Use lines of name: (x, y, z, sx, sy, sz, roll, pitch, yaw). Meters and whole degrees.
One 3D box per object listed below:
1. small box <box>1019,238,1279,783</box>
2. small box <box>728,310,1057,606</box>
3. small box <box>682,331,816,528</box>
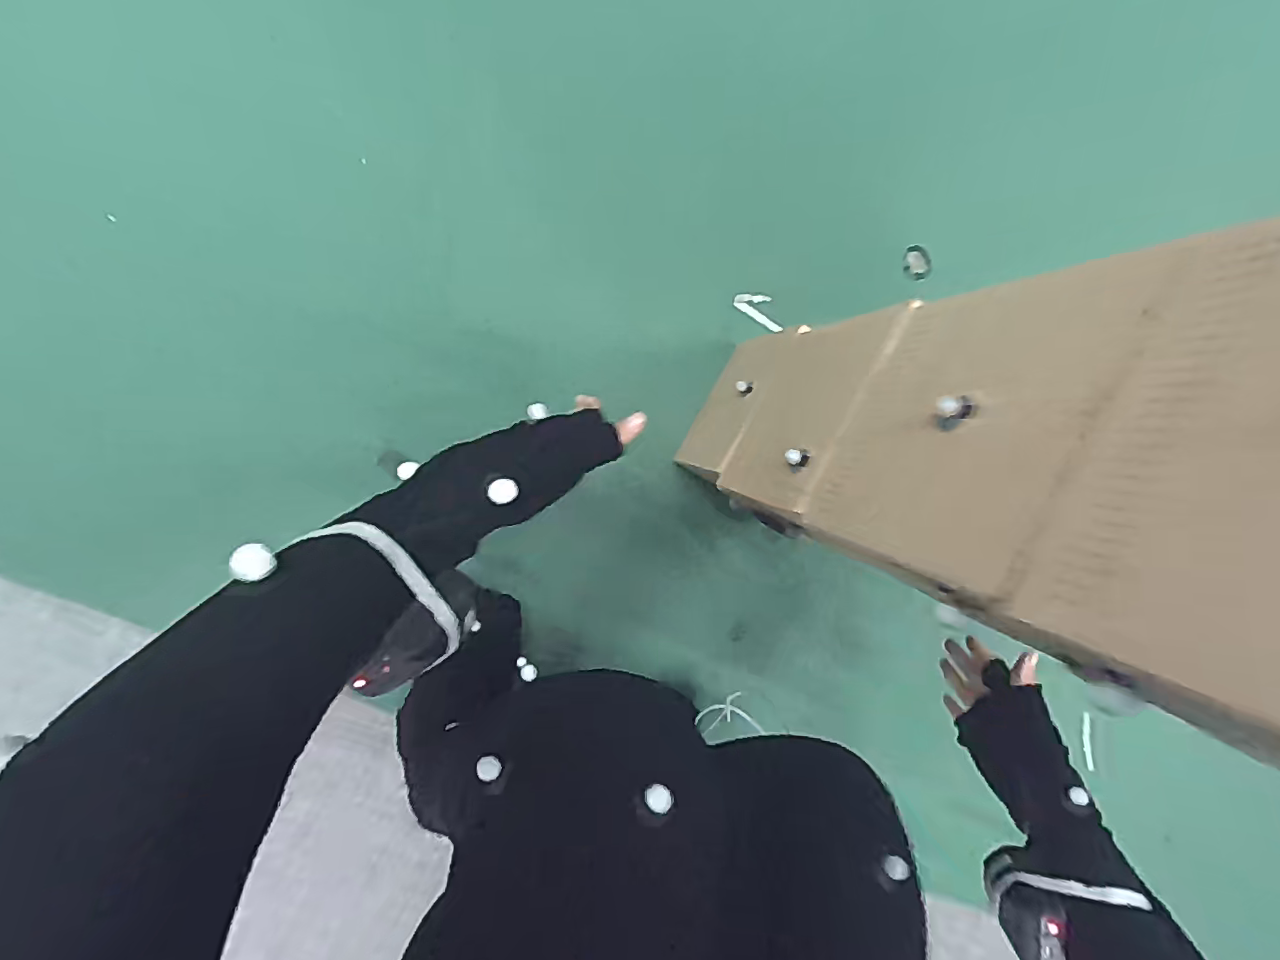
small box: (0.267, 0.029, 0.164, 0.168, 0.176, 0.179, 28, 90, -15)
small box: (0.203, -0.022, 0.483, 0.168, 0.176, 0.179, 27, 92, -15)
small box: (0.171, -0.050, 0.641, 0.168, 0.176, 0.179, 29, 91, -14)
